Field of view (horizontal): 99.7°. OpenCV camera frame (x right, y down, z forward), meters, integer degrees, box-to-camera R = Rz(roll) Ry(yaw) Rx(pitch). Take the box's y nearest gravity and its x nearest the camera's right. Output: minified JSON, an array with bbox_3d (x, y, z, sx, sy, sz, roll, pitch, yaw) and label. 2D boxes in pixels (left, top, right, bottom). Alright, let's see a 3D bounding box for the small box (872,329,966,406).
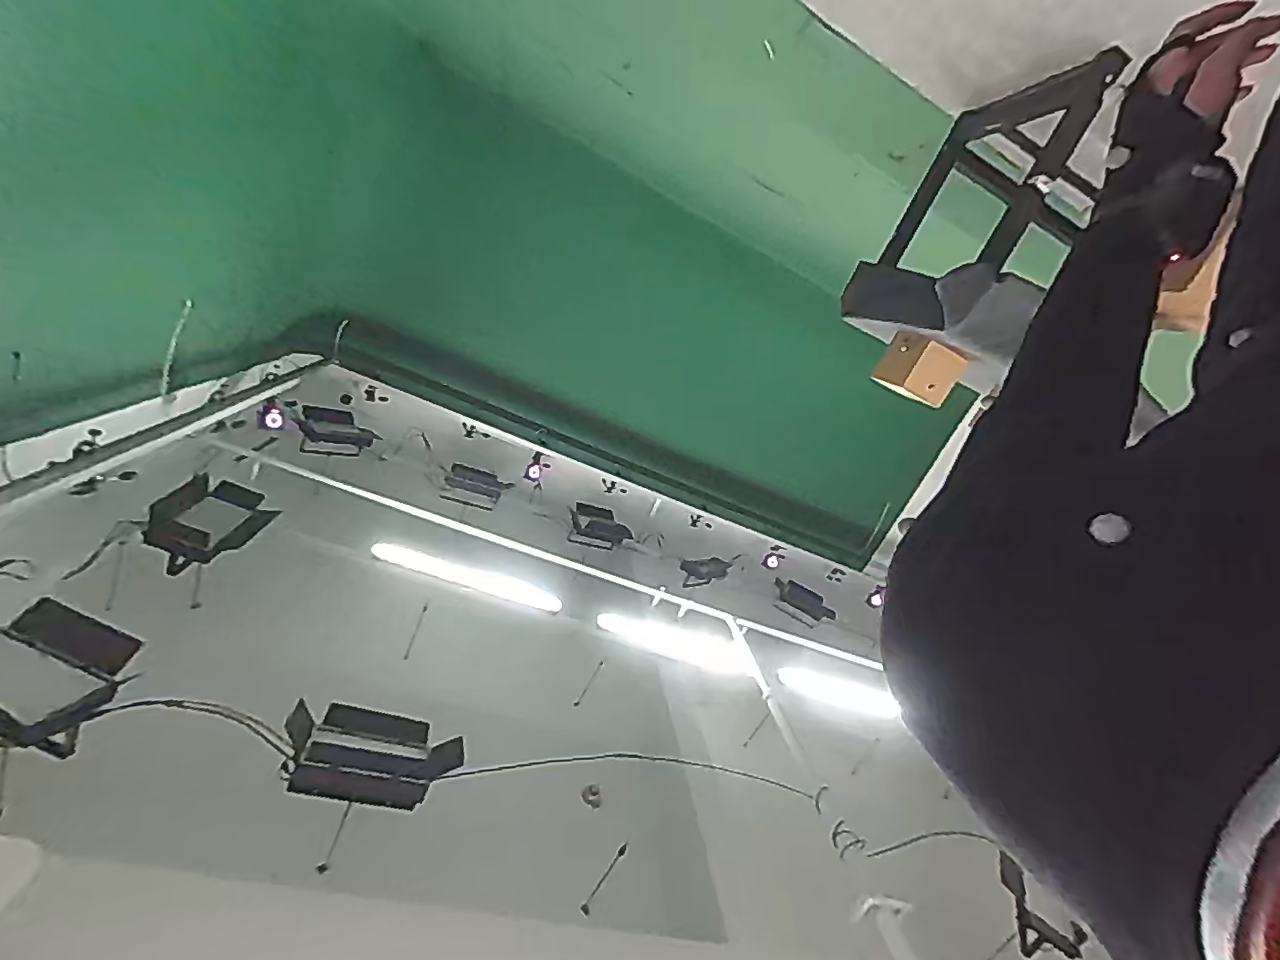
[{"bbox_3d":[0.908,-0.367,1.755,0.179,0.176,0.168,21,-163,-22],"label":"small box"}]
